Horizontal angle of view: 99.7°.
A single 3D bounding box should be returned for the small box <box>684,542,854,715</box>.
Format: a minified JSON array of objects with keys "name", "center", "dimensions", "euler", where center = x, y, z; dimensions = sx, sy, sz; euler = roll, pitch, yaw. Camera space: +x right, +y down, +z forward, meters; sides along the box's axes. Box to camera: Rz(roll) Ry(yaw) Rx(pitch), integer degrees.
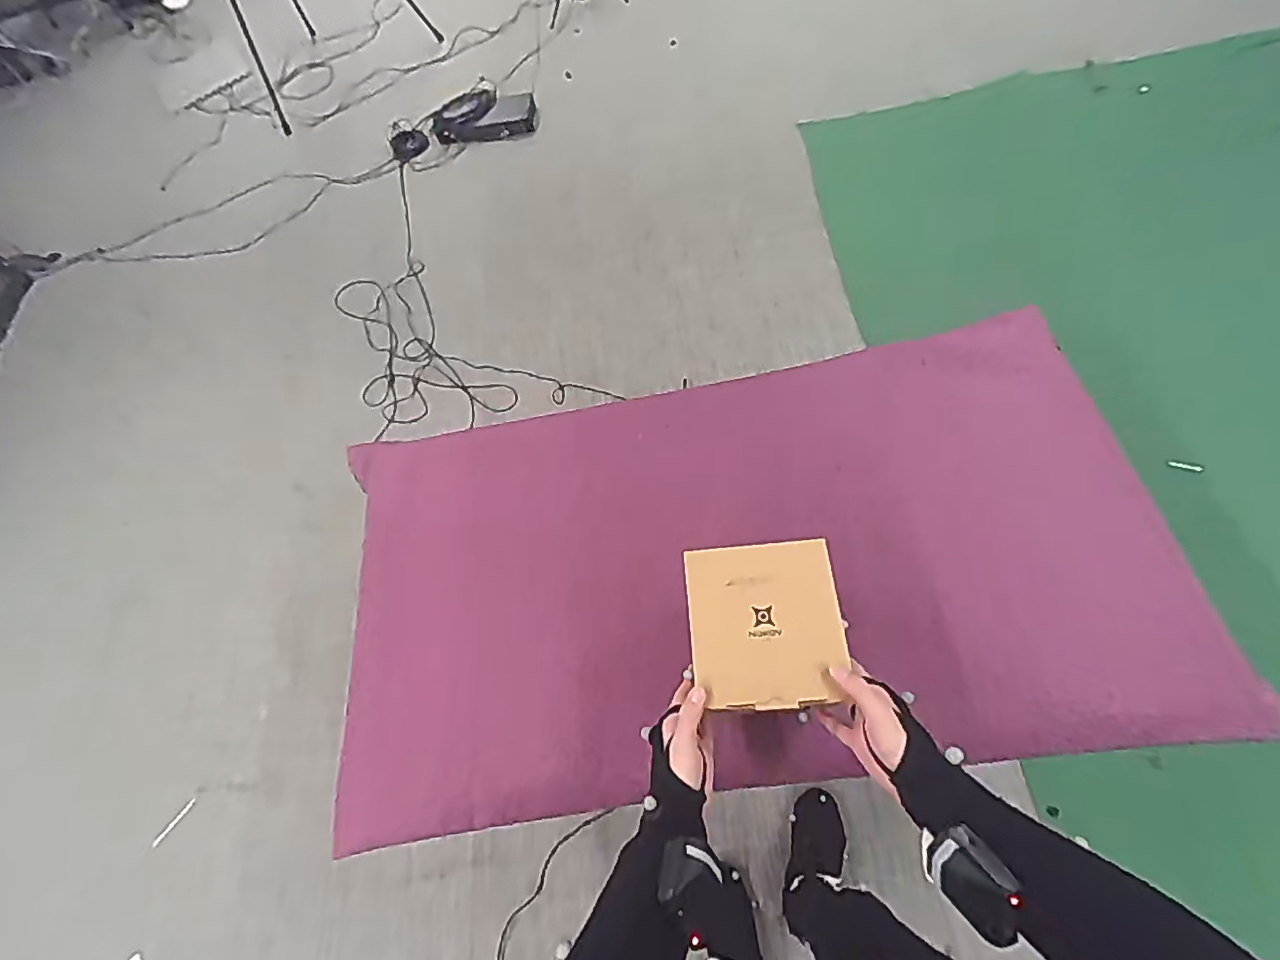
[{"name":"small box","center":[0.146,0.189,0.656],"dimensions":[0.168,0.176,0.179],"euler":[-5,63,6]}]
